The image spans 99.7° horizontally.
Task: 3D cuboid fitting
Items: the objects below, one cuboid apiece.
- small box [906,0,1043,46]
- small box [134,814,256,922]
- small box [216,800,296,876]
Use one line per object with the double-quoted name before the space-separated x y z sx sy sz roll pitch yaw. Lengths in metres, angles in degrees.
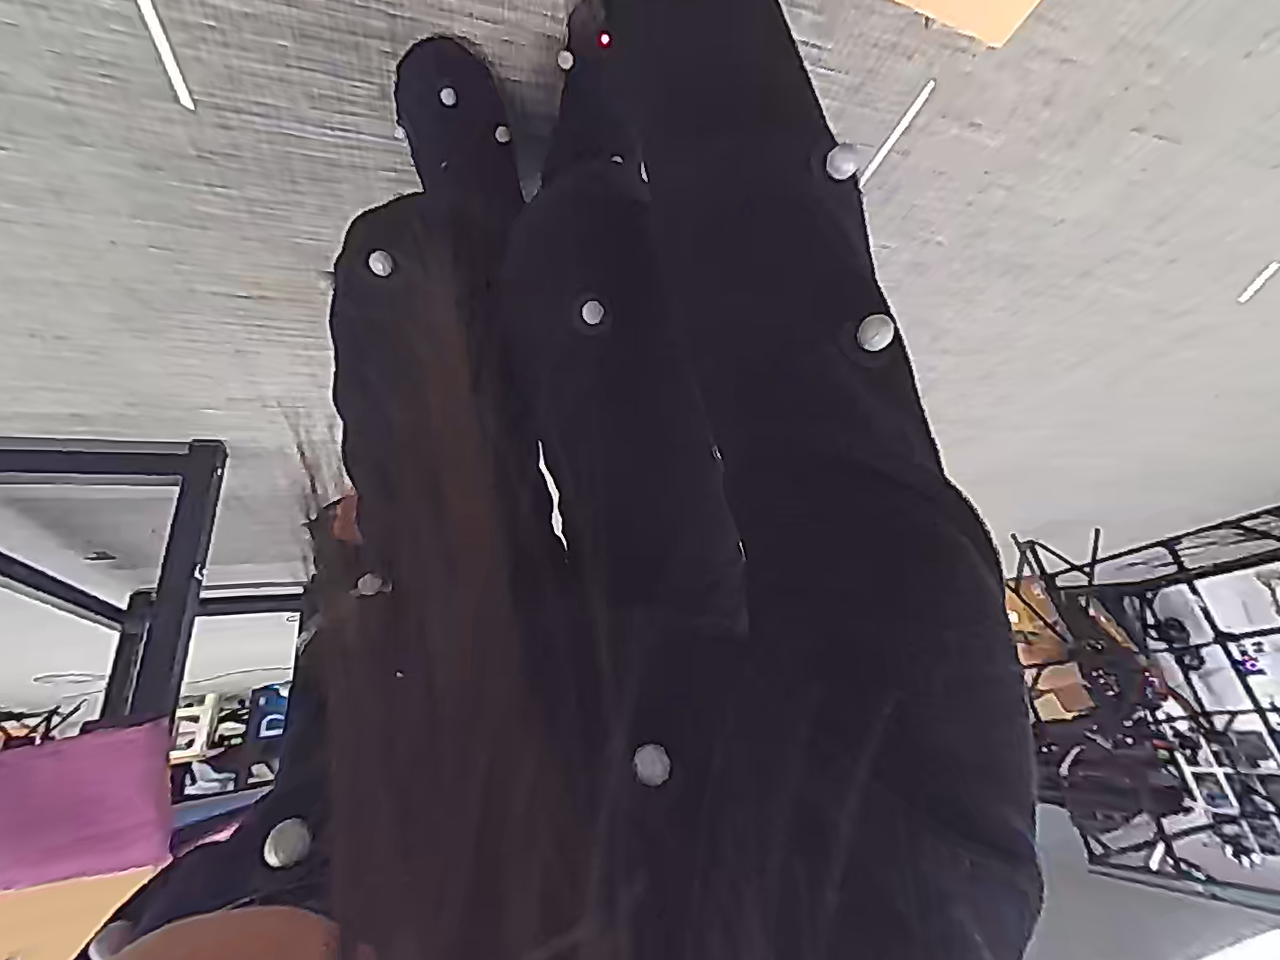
"small box" 0.247 -0.476 0.390 0.179 0.176 0.168 1 154 -22
"small box" -1.050 0.914 1.296 0.179 0.176 0.168 0 155 -17
"small box" -1.129 1.049 1.582 0.168 0.176 0.179 0 155 -18
